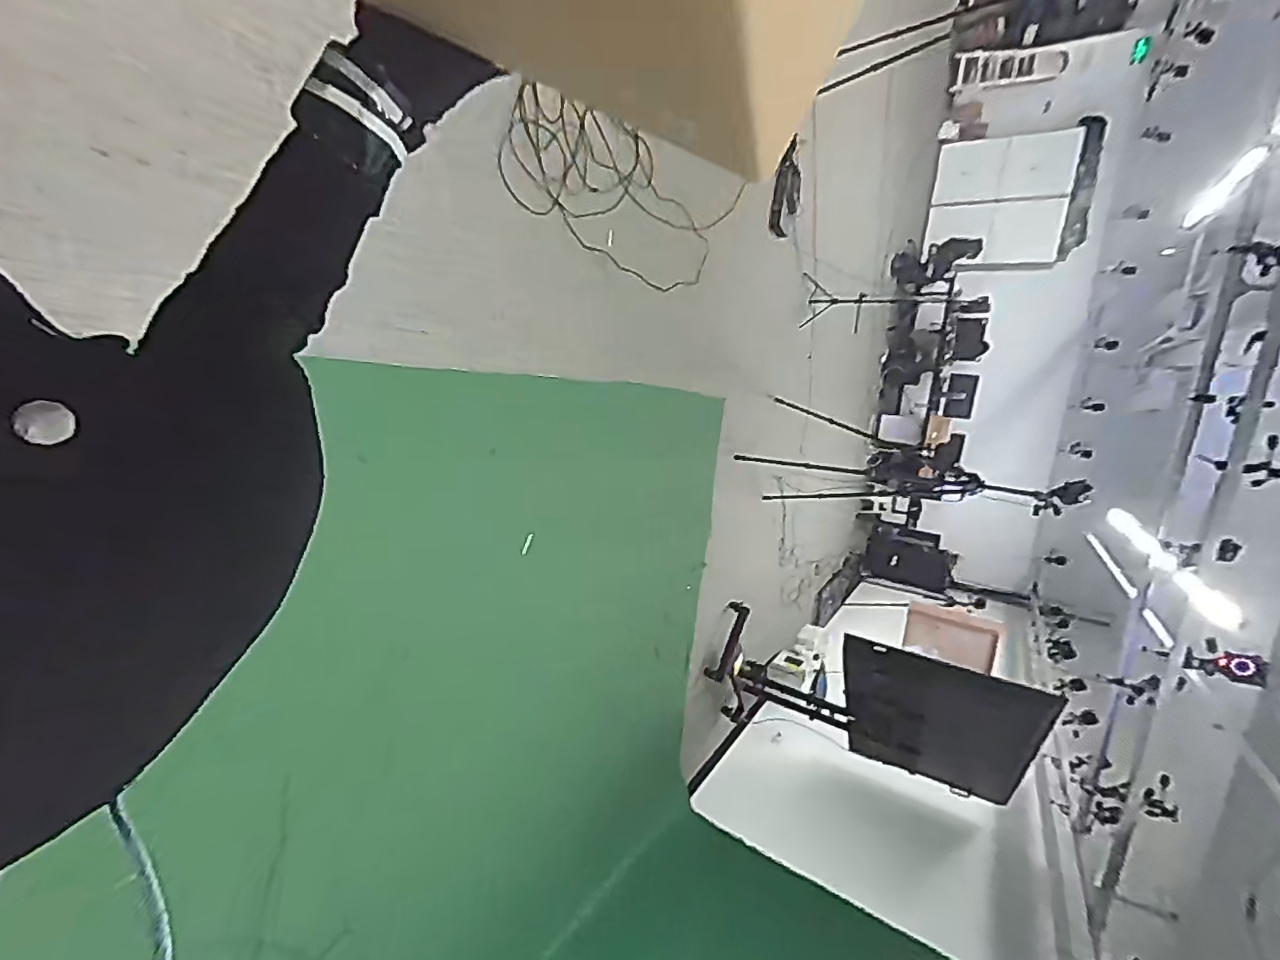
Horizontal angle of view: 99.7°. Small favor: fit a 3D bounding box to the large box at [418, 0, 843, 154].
[{"bbox_3d":[-0.038,-0.355,0.129,0.320,0.320,0.408,-63,176,19],"label":"large box"}]
